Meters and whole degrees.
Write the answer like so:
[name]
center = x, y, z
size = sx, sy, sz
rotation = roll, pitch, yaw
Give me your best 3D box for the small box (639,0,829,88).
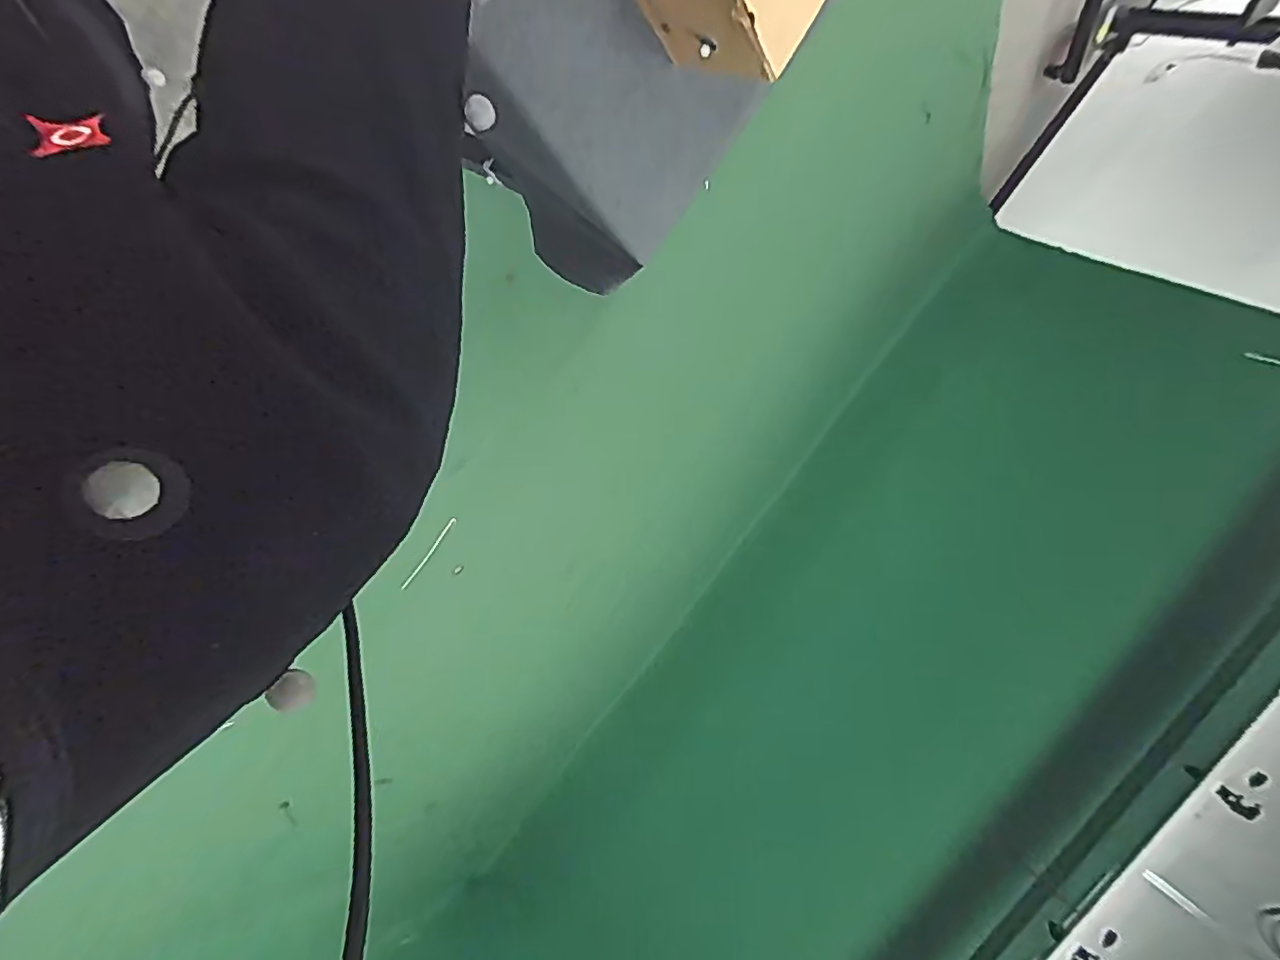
[small box]
center = 0.099, -0.571, 0.576
size = 0.179, 0.176, 0.168
rotation = -59, 149, 9
